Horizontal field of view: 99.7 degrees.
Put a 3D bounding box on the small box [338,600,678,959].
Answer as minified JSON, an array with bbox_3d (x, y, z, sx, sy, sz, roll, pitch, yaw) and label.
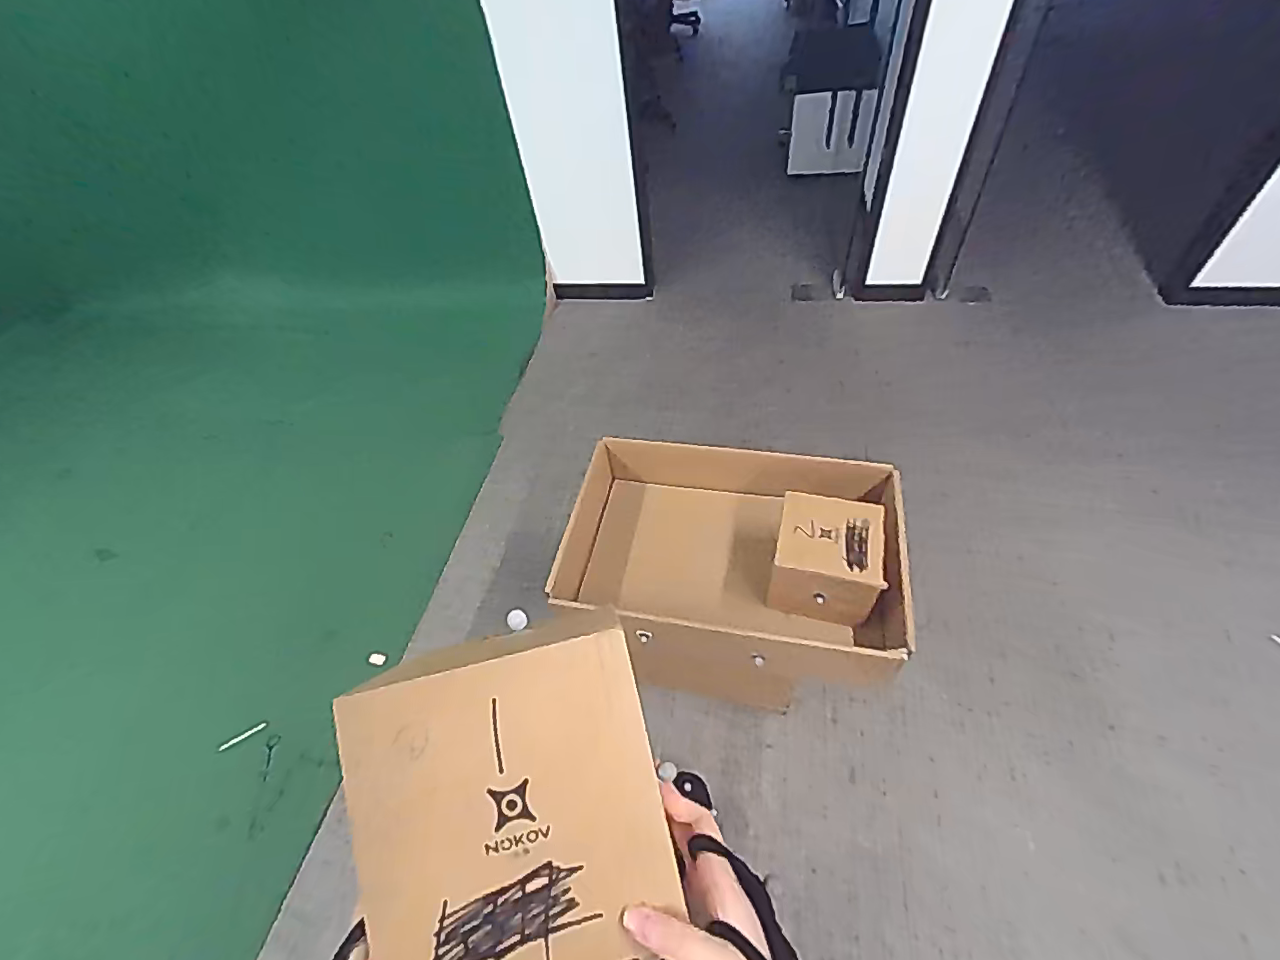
[{"bbox_3d":[-0.079,0.192,0.382,0.168,0.176,0.179,-12,82,-7],"label":"small box"}]
